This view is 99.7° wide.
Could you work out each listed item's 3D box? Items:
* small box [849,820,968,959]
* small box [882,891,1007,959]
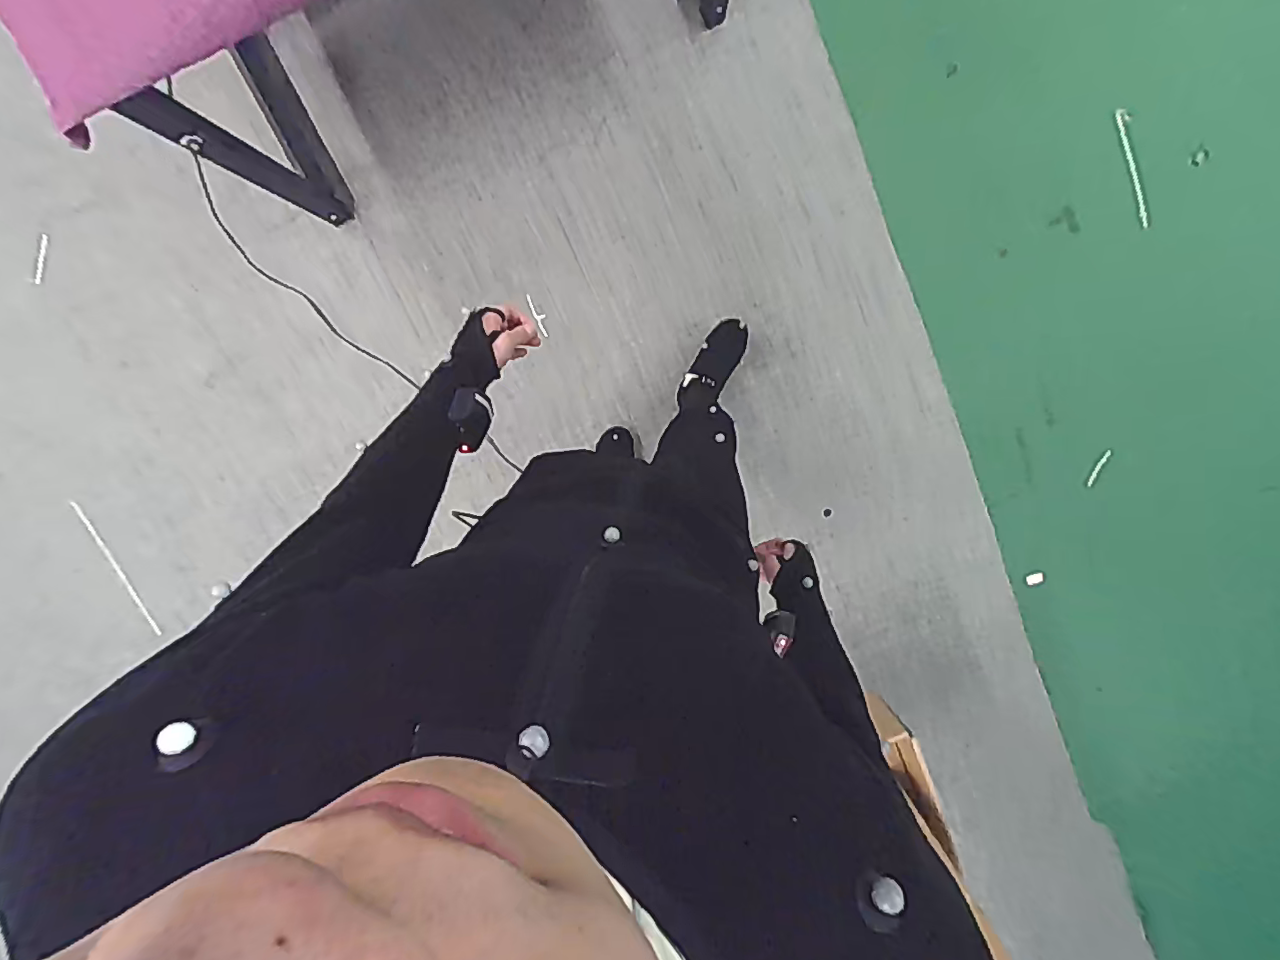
[{"bbox_3d":[0.551,0.844,1.097,0.168,0.176,0.179,-19,99,2],"label":"small box"},{"bbox_3d":[0.551,0.873,0.938,0.168,0.176,0.179,-18,99,3],"label":"small box"}]
